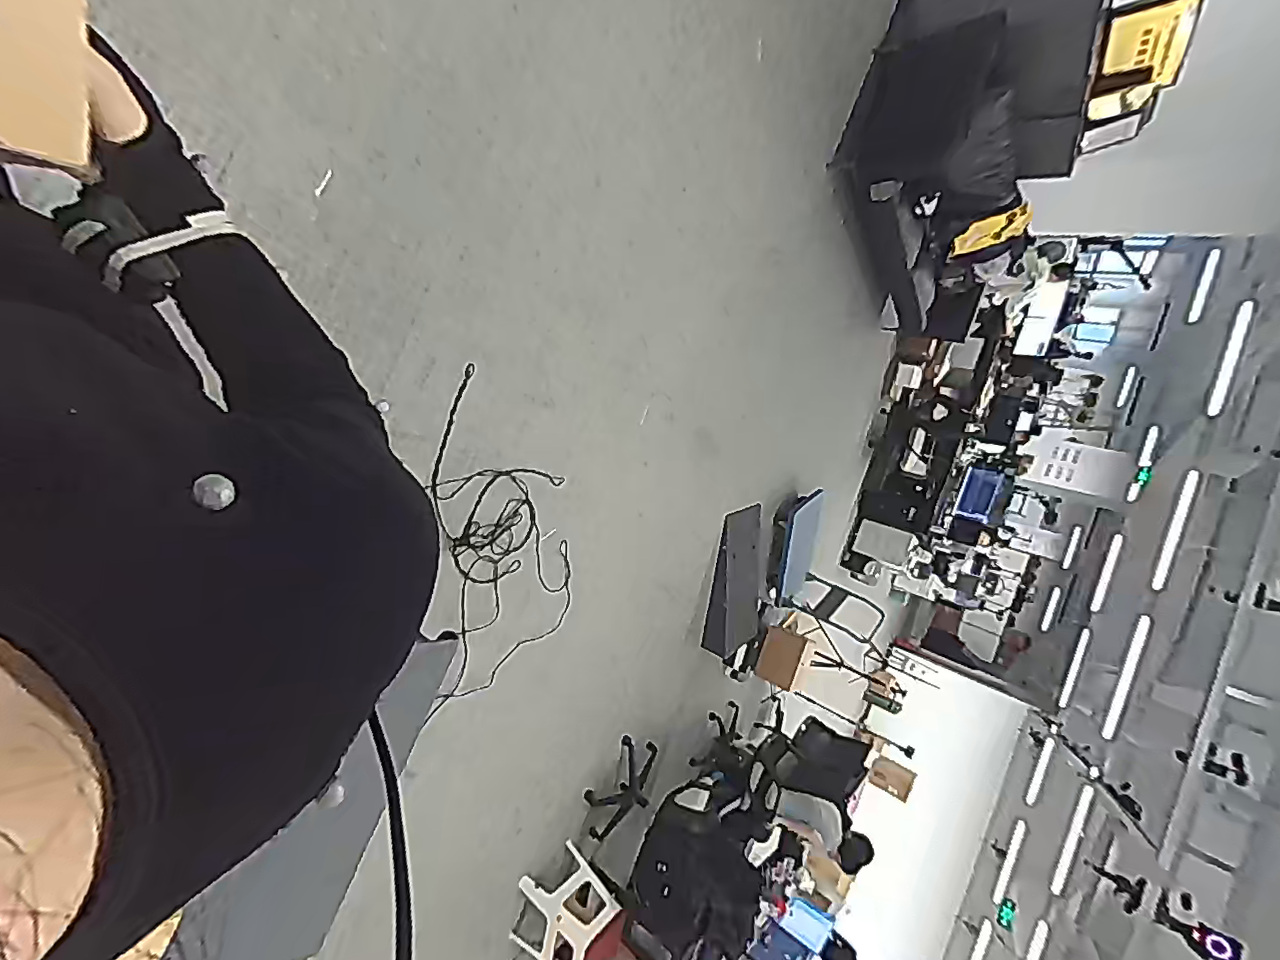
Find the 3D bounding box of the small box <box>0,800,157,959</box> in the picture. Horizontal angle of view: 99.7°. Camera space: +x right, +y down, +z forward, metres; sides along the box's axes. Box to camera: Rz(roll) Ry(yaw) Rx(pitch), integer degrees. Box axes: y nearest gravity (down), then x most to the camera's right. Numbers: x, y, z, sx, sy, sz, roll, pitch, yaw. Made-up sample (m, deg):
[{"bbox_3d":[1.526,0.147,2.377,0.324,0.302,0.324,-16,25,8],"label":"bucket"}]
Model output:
[{"bbox_3d":[-0.535,0.392,0.421,0.168,0.176,0.179,34,78,-54],"label":"small box"}]
